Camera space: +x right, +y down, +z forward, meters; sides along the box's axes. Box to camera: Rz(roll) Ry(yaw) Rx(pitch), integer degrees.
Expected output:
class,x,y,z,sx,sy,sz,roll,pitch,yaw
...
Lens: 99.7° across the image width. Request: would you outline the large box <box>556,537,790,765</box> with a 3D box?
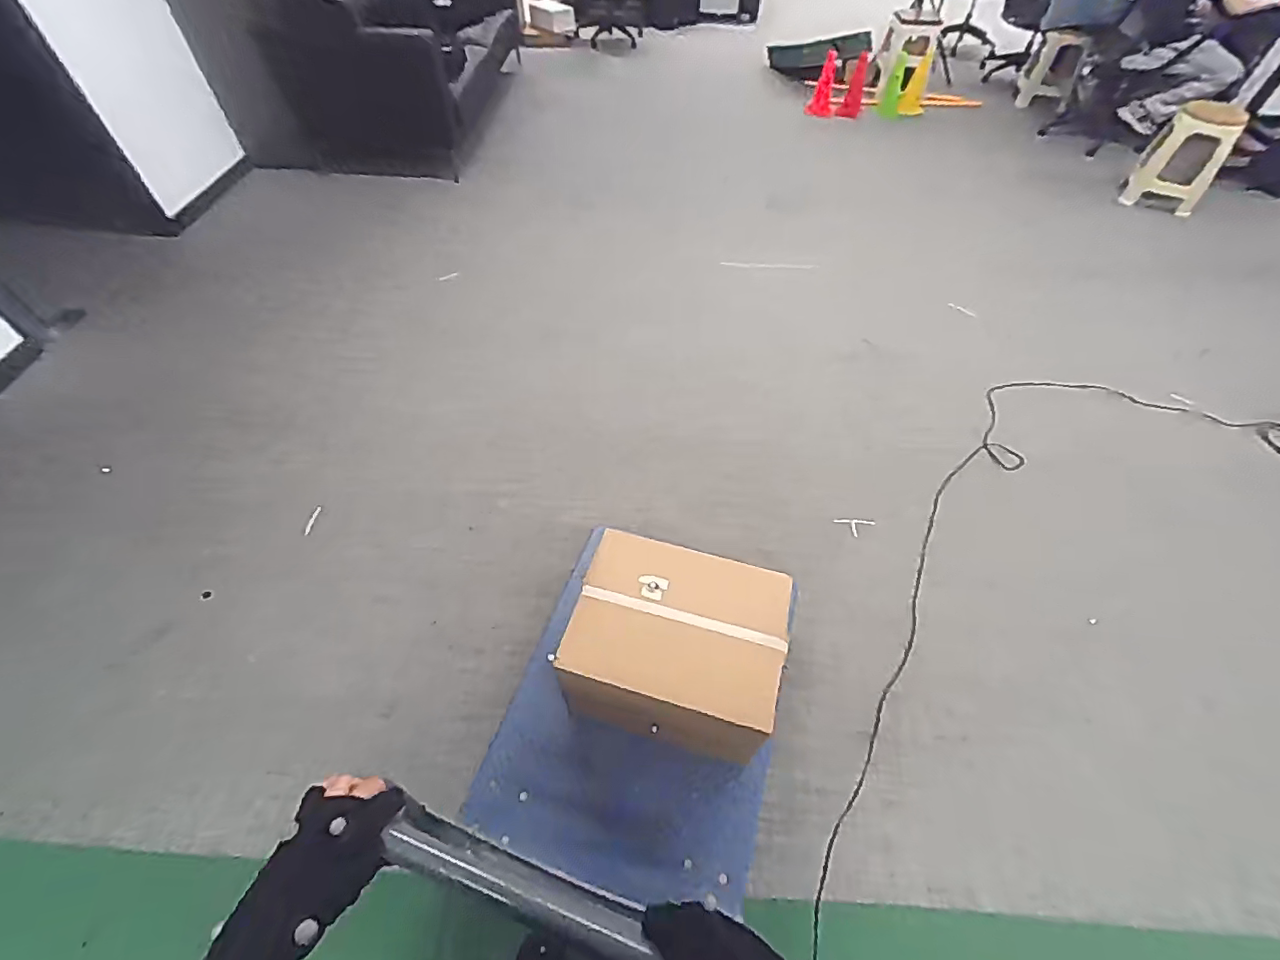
class,x,y,z,sx,sy,sz,roll,pitch,yaw
large box,0.078,0.369,1.160,0.408,0.320,0.320,13,52,10
